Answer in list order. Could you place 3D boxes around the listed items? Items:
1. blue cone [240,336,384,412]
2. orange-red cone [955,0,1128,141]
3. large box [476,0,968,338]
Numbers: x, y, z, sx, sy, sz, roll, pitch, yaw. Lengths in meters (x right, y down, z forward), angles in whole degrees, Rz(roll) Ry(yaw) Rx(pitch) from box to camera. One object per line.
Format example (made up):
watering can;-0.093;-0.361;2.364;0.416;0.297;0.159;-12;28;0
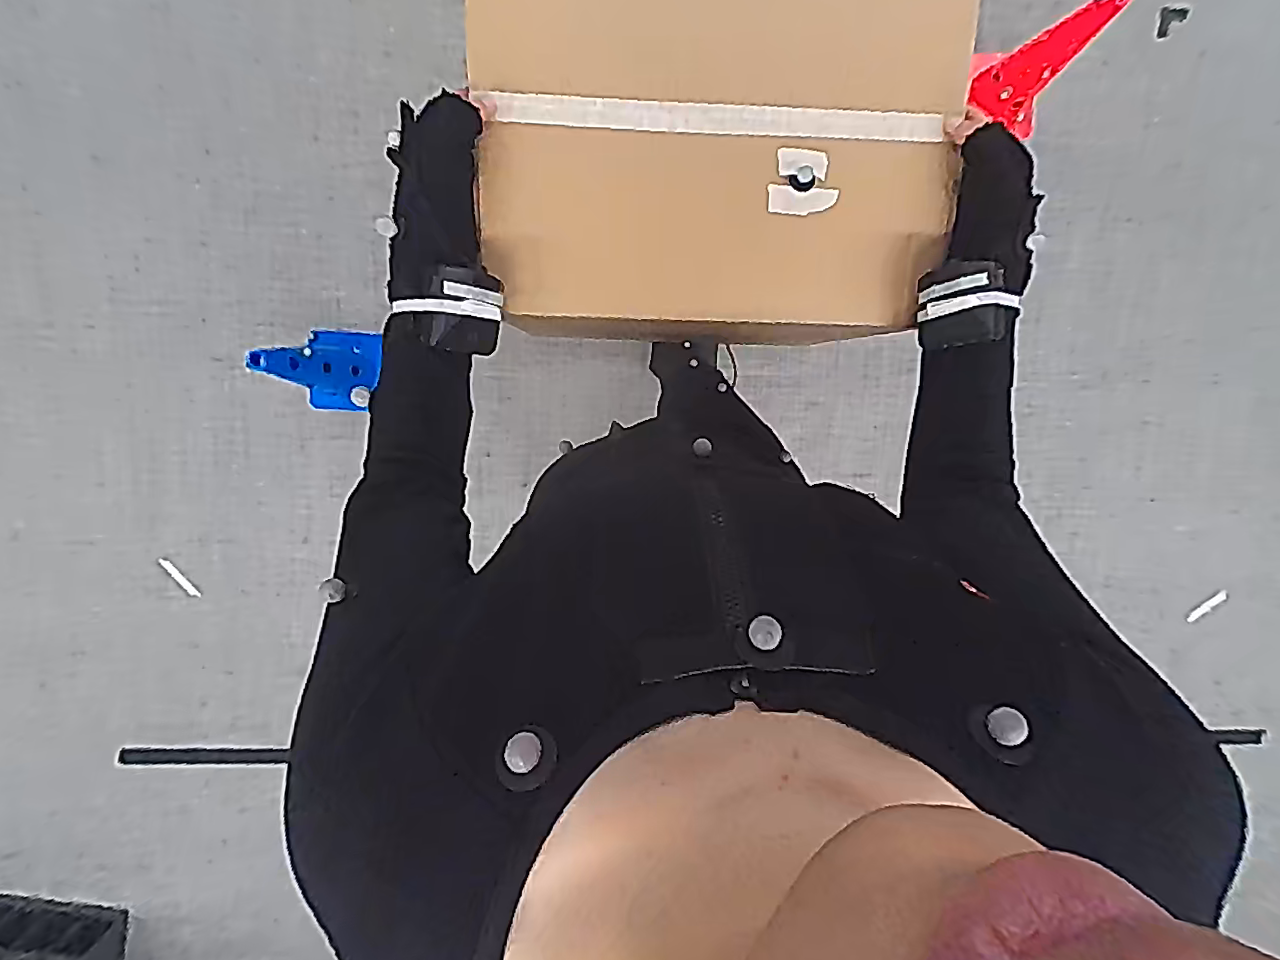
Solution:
blue cone;-0.753;-0.250;1.233;0.192;0.380;0.193;4;97;-2
orange-red cone;0.897;-0.940;1.186;0.198;0.360;0.199;-2;97;-3
large box;0.058;-0.327;0.593;0.408;0.320;0.320;0;101;-4
